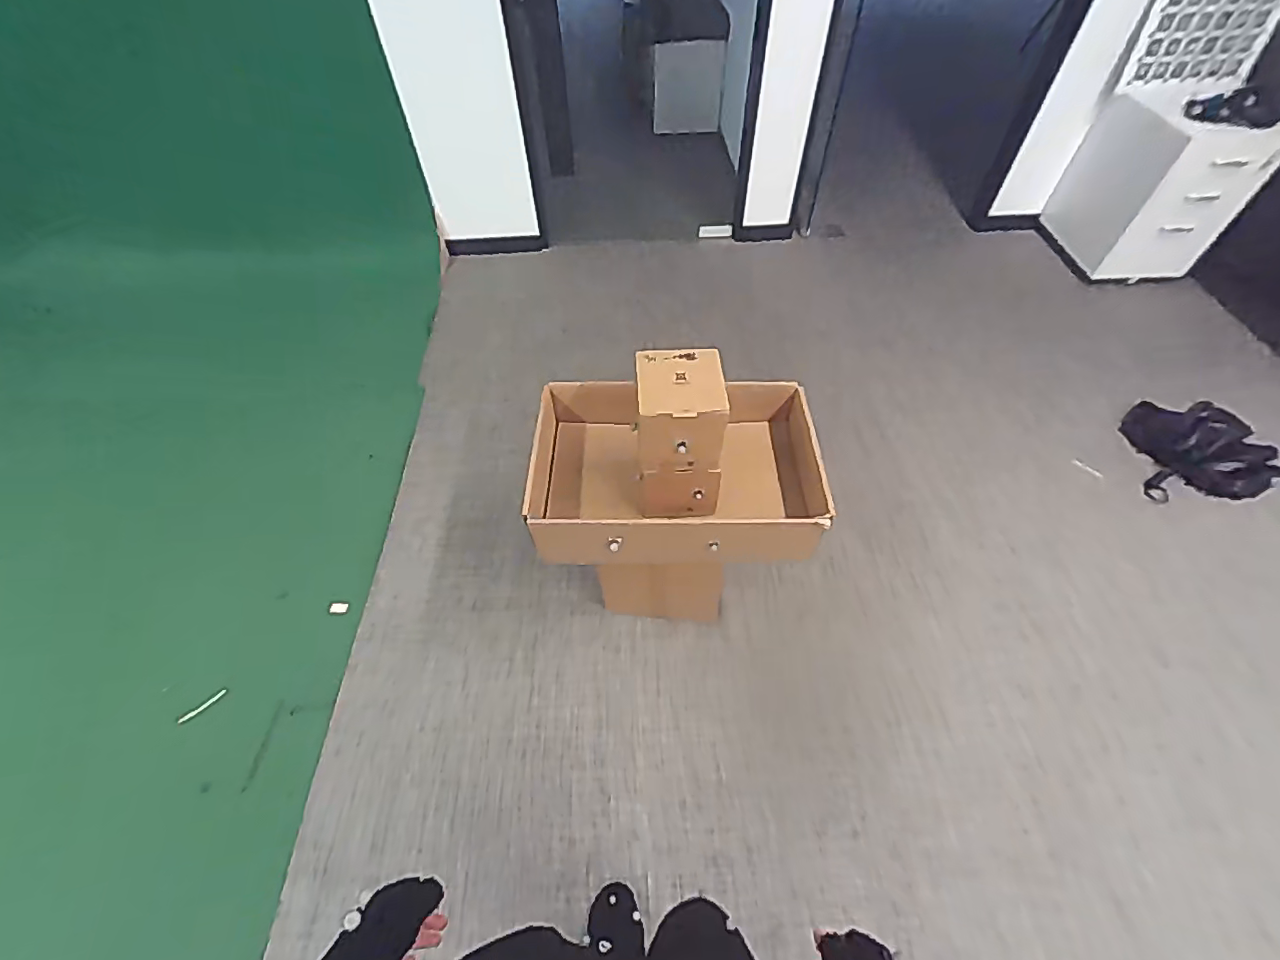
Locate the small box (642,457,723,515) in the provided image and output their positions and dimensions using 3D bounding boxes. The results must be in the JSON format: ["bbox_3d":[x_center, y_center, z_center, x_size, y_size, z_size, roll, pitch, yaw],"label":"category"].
[{"bbox_3d":[0.089,-0.032,1.211,0.168,0.176,0.179,-2,51,-1],"label":"small box"}]

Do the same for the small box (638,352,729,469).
[{"bbox_3d":[0.080,-0.133,1.083,0.168,0.176,0.179,-1,53,-1],"label":"small box"}]
